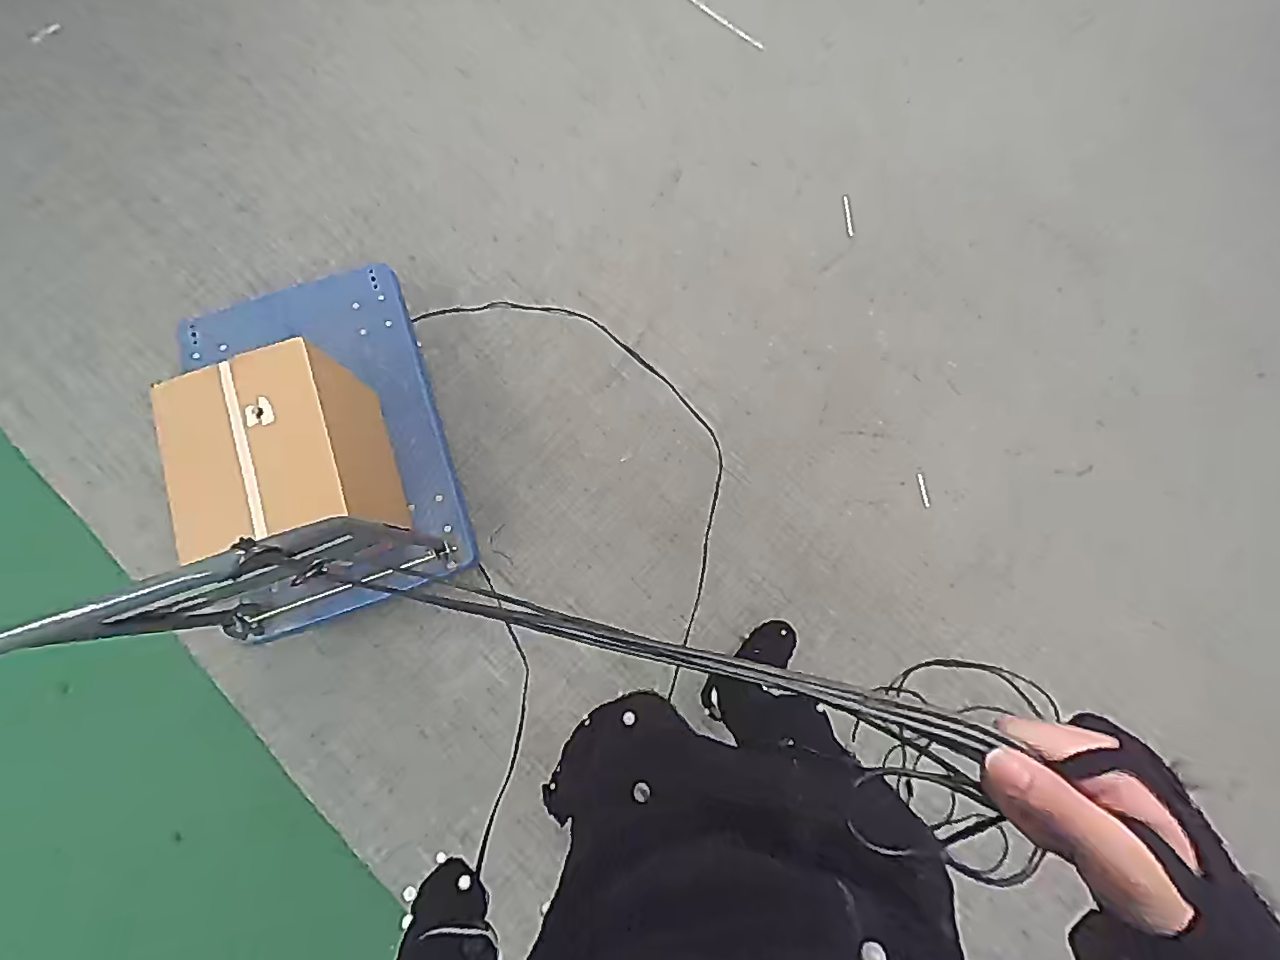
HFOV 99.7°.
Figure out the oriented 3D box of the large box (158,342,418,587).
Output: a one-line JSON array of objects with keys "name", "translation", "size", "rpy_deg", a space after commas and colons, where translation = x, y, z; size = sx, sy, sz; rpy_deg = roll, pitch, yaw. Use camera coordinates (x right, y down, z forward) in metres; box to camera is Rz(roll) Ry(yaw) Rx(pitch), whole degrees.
[{"name": "large box", "translation": [-0.741, -0.013, 1.182], "size": [0.320, 0.320, 0.408], "rpy_deg": [-20, 77, -4]}]
